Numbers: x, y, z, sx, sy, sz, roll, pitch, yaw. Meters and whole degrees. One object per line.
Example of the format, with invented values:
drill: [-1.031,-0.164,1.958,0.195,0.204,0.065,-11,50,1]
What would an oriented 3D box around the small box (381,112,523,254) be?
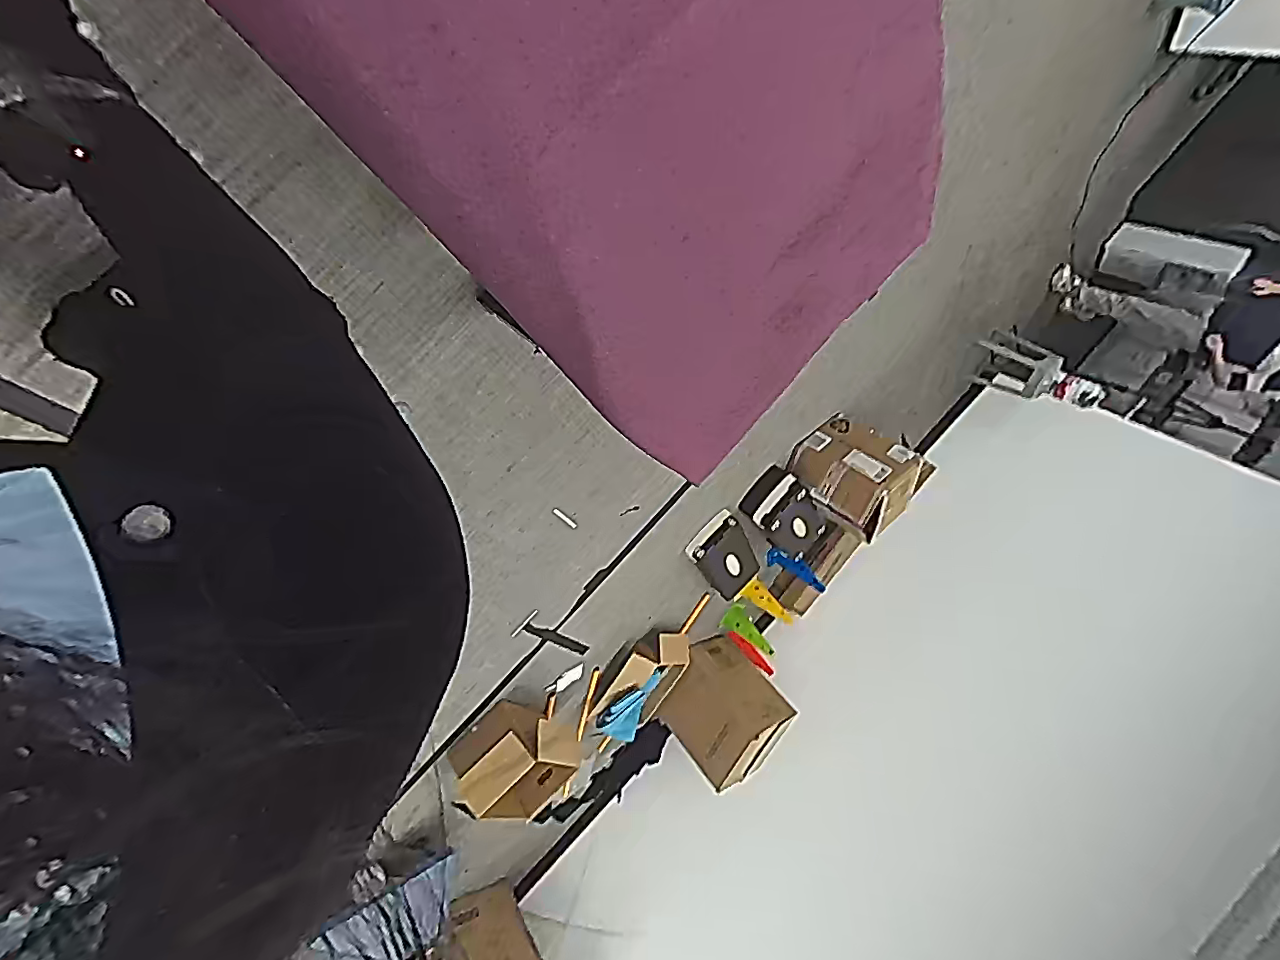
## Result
small box: [-0.366,-0.571,1.037,0.179,0.176,0.168,-42,143,-11]
